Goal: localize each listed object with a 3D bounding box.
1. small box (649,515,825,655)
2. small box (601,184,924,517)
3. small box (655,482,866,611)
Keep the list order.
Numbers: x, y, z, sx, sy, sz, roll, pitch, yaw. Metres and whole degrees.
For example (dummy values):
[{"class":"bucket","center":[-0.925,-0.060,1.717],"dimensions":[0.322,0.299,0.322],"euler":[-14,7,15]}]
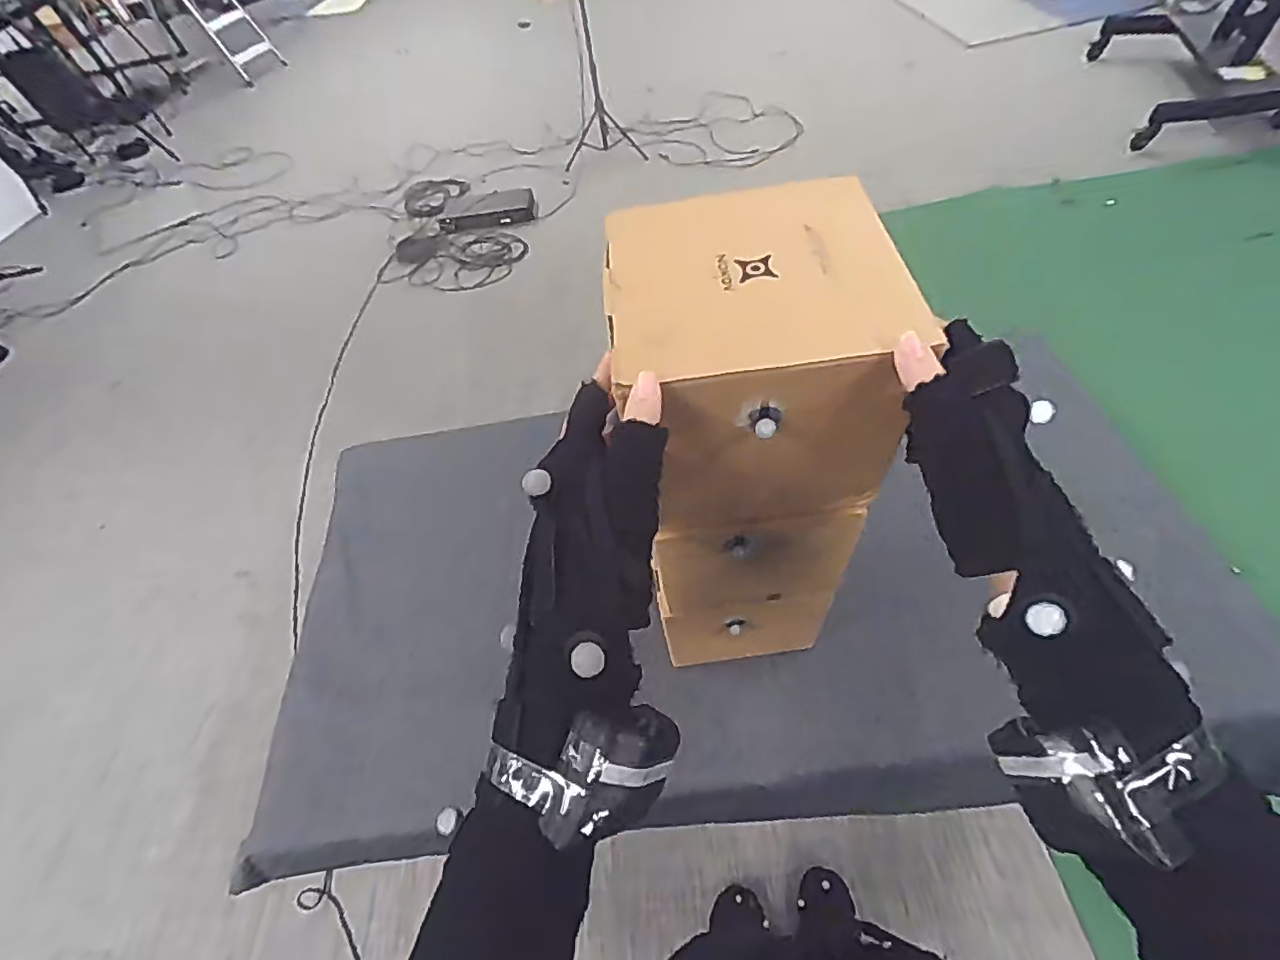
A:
[{"class":"small box","center":[0.110,0.104,0.666],"dimensions":[0.179,0.176,0.168],"euler":[-8,55,2]},{"class":"small box","center":[0.072,-0.084,0.403],"dimensions":[0.179,0.176,0.168],"euler":[-7,57,3]},{"class":"small box","center":[0.096,0.010,0.538],"dimensions":[0.168,0.176,0.179],"euler":[-9,56,1]}]
